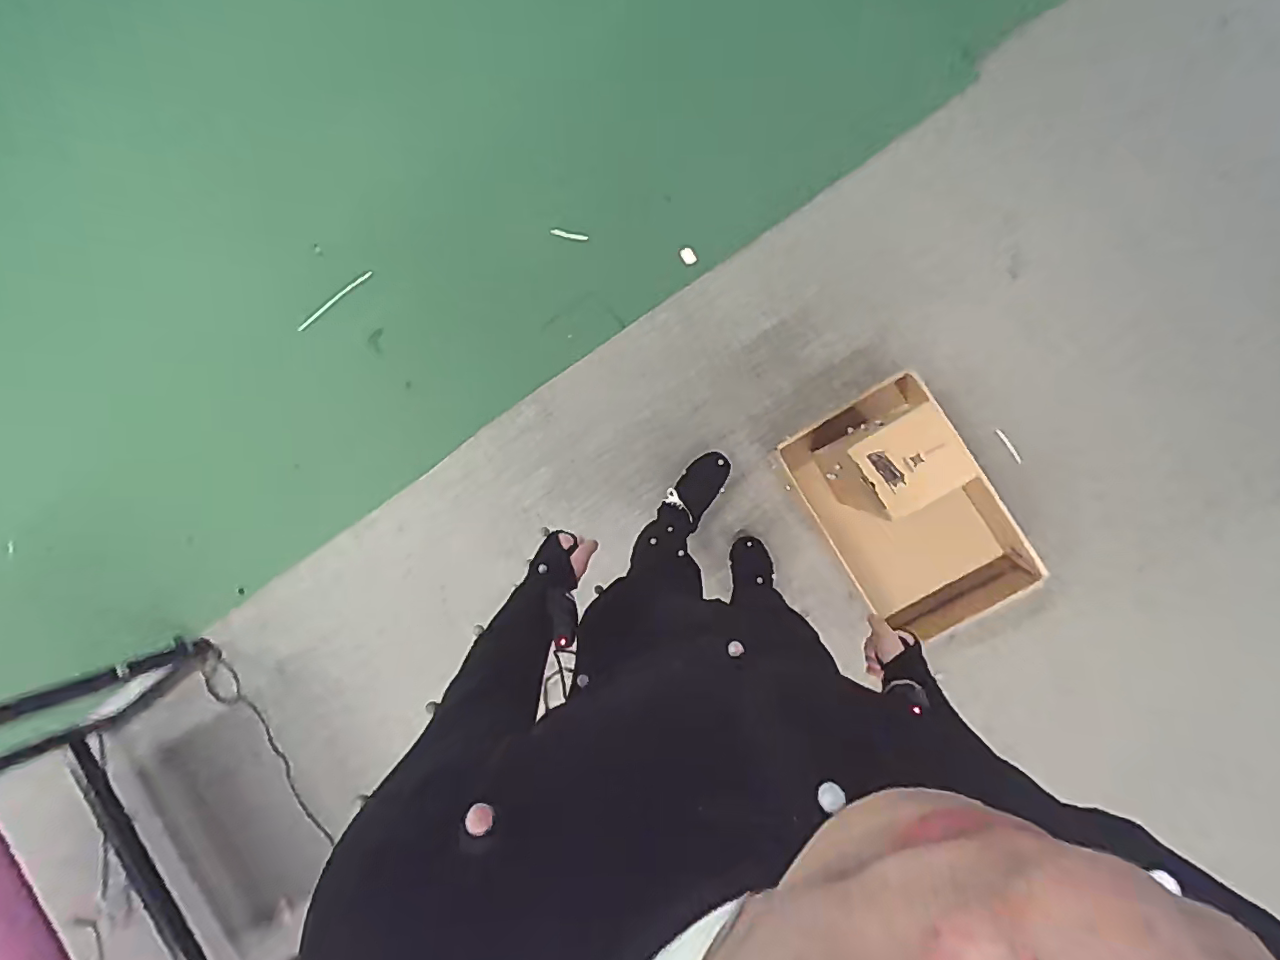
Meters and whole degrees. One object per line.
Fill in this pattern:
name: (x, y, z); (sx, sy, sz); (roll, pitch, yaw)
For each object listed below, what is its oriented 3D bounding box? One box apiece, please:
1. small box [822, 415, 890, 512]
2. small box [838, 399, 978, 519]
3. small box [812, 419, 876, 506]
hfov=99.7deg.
small box: (0.546, -0.043, 1.243); (0.179, 0.176, 0.168); (-29, 87, 9)
small box: (0.518, -0.039, 1.081); (0.179, 0.176, 0.168); (-32, 87, 7)
small box: (0.574, -0.049, 1.404); (0.179, 0.176, 0.168); (-30, 87, 8)
